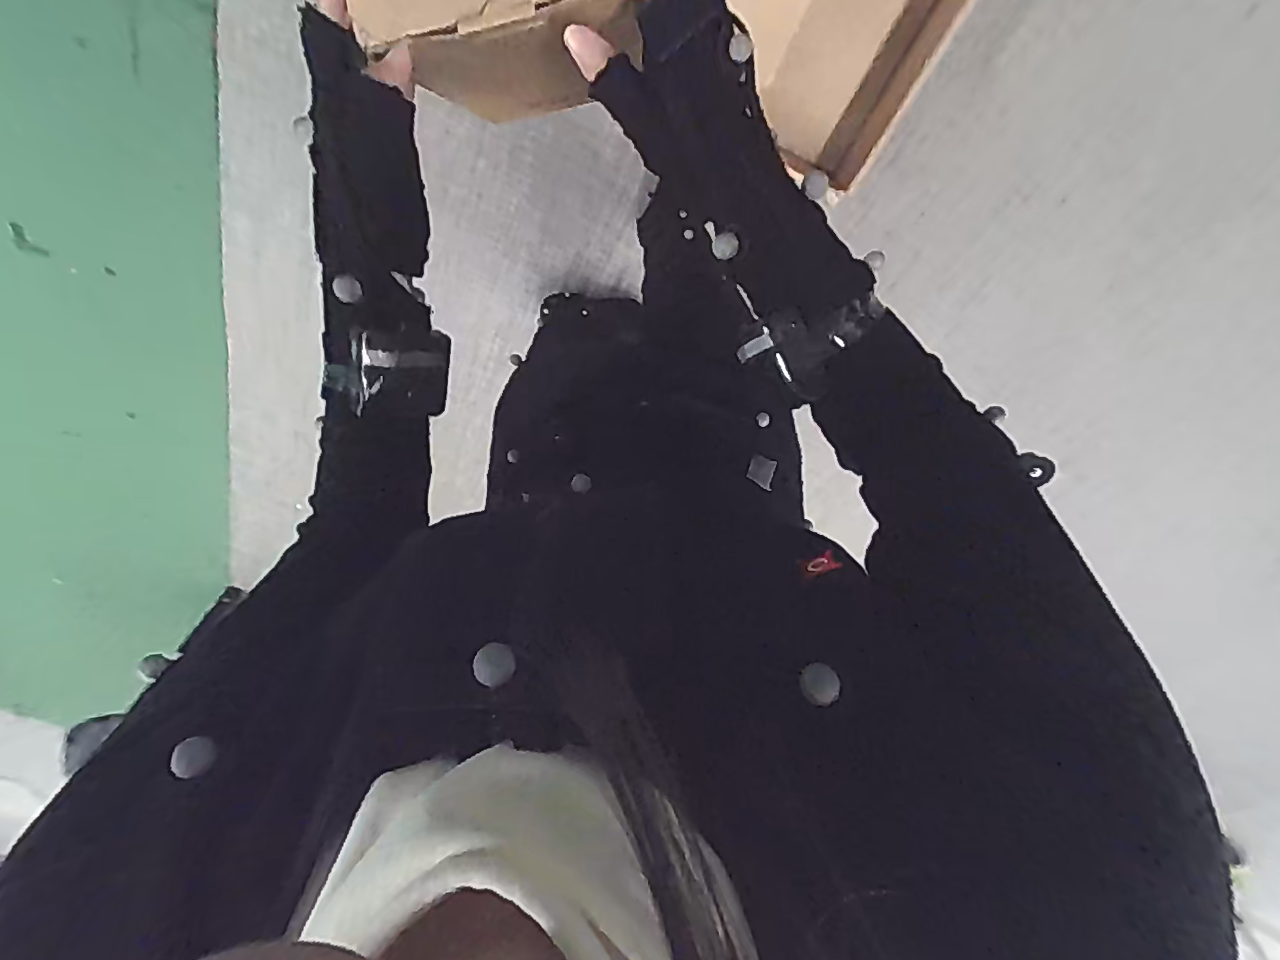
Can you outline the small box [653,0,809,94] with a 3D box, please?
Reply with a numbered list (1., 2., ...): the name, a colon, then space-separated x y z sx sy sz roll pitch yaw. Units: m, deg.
1. small box: 0.133 -0.651 0.710 0.168 0.176 0.179 22 129 -12
